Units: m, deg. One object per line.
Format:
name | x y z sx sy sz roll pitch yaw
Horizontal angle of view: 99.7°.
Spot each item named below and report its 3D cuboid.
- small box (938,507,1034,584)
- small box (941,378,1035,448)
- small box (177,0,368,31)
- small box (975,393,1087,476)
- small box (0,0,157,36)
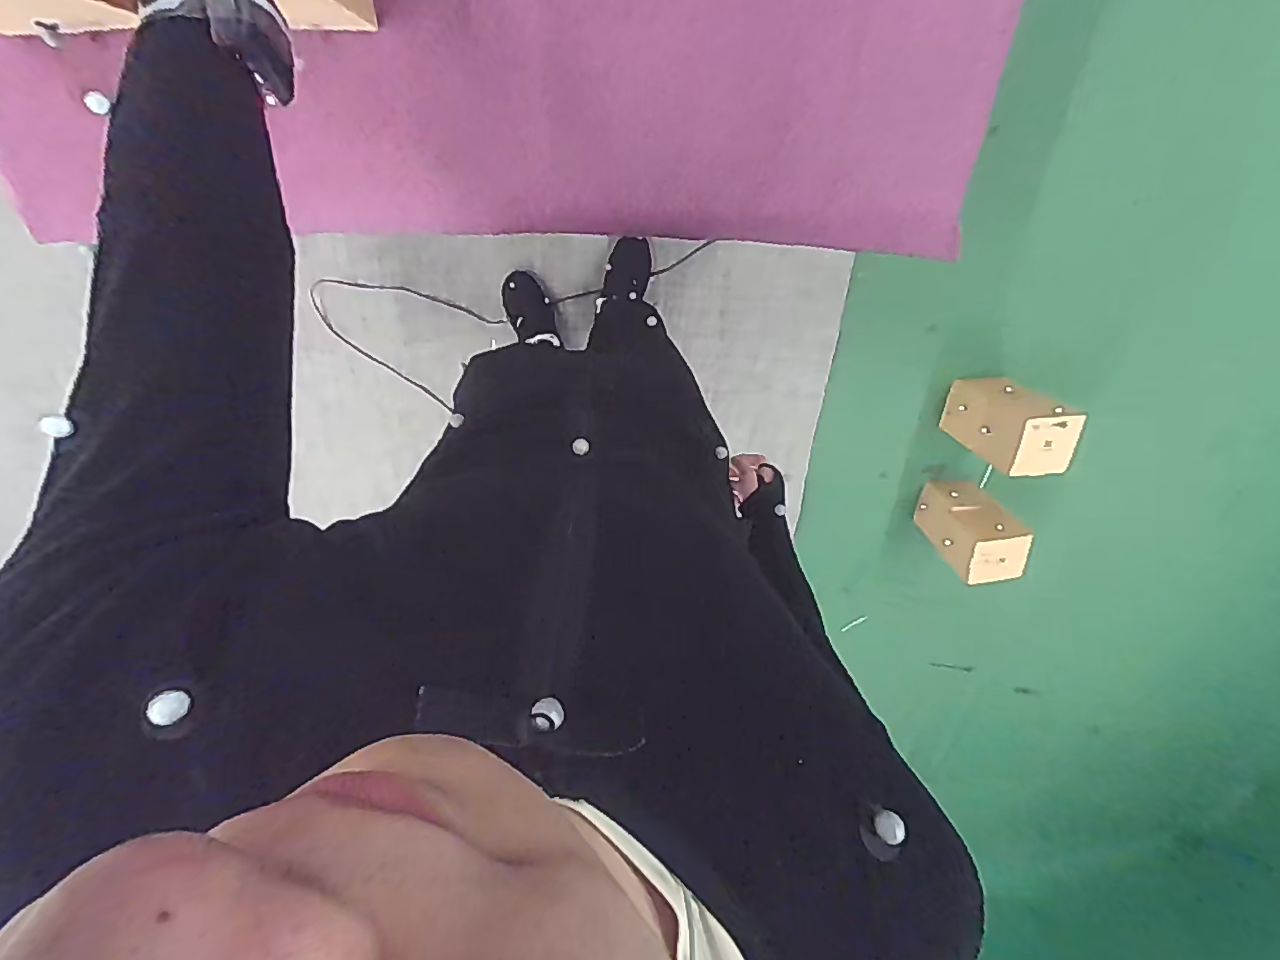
small box | 1.081 0.200 1.703 0.179 0.176 0.168 -8 120 0
small box | 1.066 -0.208 1.657 0.179 0.176 0.168 -2 120 -5
small box | -0.374 -0.539 0.489 0.168 0.176 0.179 -2 121 -4
small box | 1.080 -0.130 1.513 0.168 0.176 0.179 -4 120 -4
small box | -0.601 -0.524 0.477 0.168 0.176 0.179 -6 121 -1
